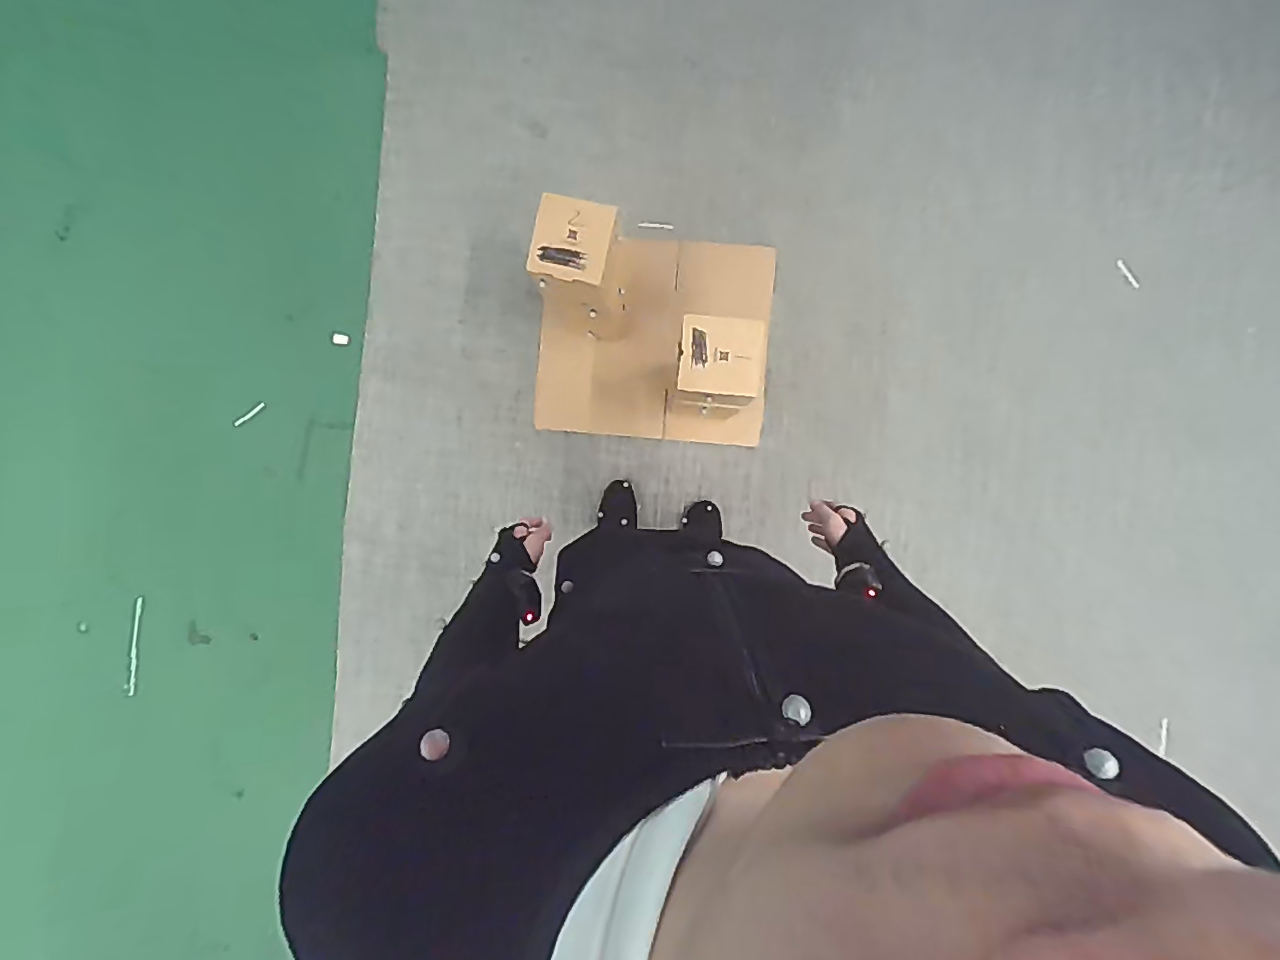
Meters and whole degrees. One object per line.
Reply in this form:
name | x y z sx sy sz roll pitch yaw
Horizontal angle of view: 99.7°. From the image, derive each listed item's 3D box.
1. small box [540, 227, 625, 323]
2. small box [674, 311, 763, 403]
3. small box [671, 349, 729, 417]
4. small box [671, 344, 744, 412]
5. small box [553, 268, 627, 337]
small box | -0.141 -0.518 1.392 0.179 0.176 0.168 13 90 2
small box | 0.171 -0.271 1.224 0.179 0.176 0.168 5 91 2
small box | 0.182 -0.276 1.550 0.179 0.176 0.168 6 91 2
small box | 0.176 -0.268 1.389 0.179 0.176 0.168 5 91 3
small box | -0.138 -0.525 1.557 0.179 0.176 0.168 13 90 1
